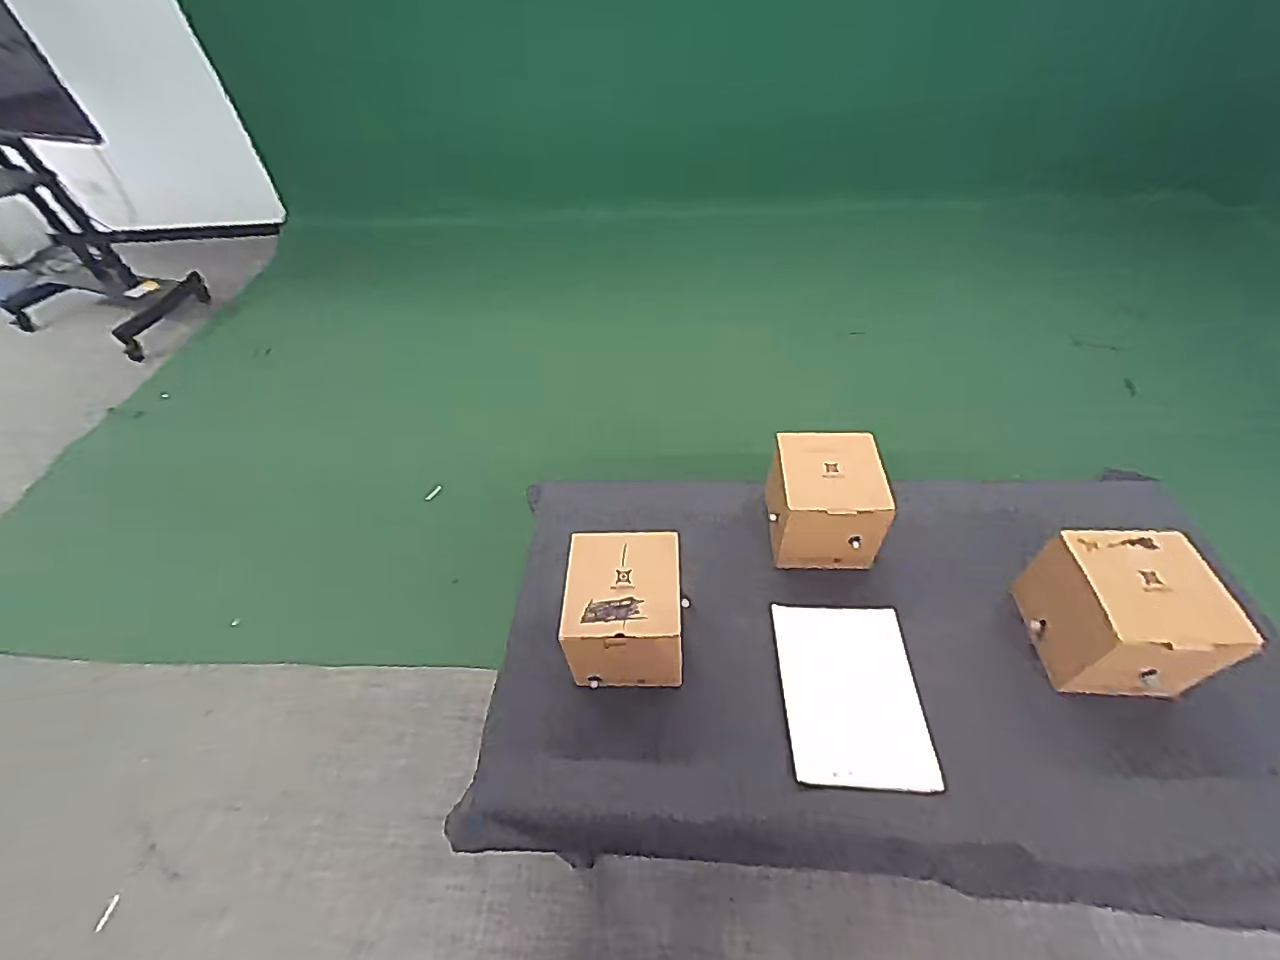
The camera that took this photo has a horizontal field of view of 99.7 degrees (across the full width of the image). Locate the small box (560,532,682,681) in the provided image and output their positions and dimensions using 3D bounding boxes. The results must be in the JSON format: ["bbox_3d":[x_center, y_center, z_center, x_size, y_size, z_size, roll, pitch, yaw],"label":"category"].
[{"bbox_3d":[-0.019,0.199,0.837,0.168,0.176,0.179,-1,49,3],"label":"small box"}]

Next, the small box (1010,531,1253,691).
[{"bbox_3d":[0.686,0.193,0.785,0.168,0.176,0.179,1,50,5],"label":"small box"}]

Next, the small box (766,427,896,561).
[{"bbox_3d":[0.318,0.027,0.941,0.168,0.176,0.179,0,48,3],"label":"small box"}]
